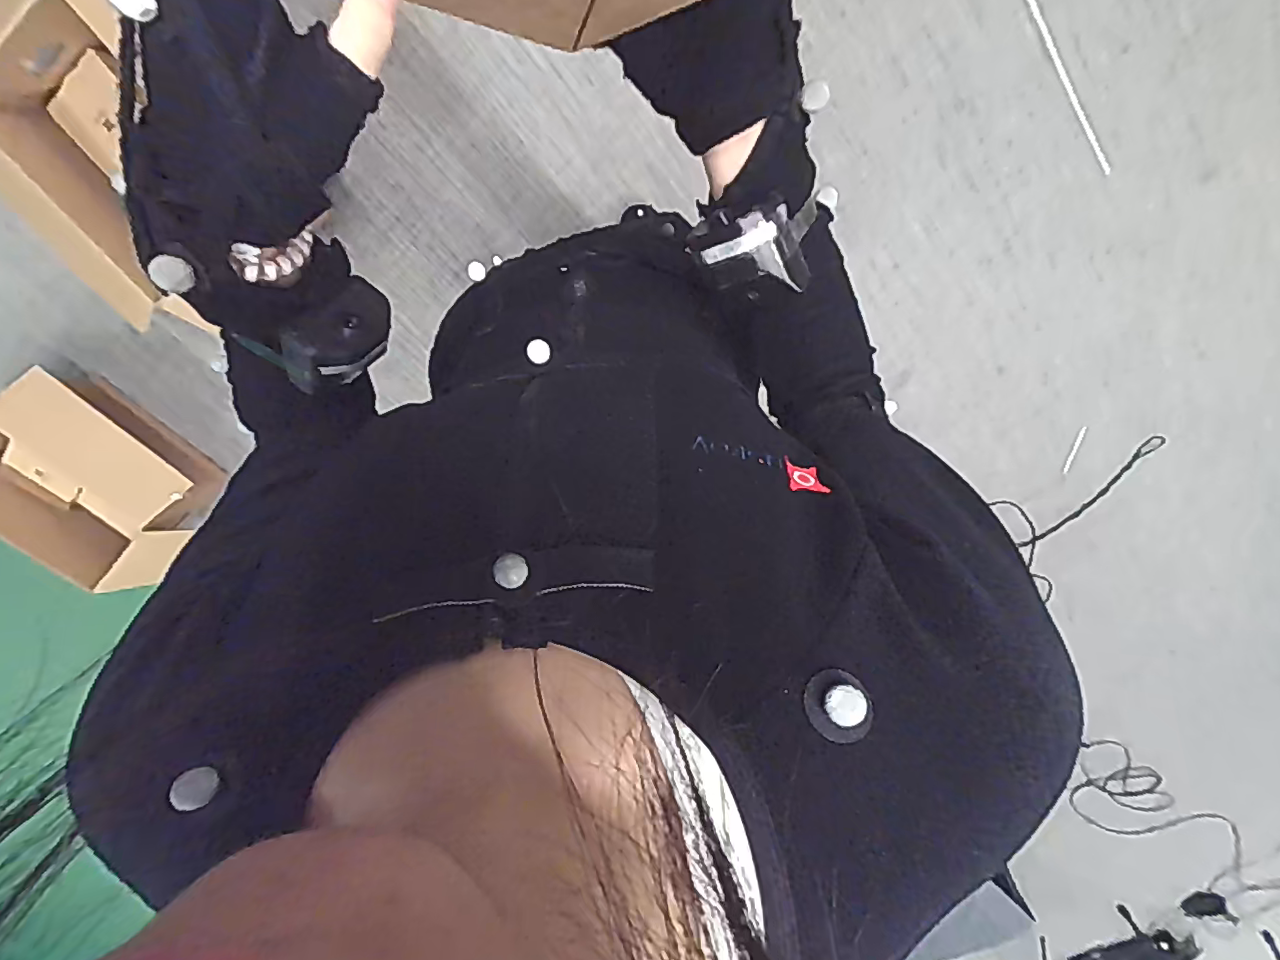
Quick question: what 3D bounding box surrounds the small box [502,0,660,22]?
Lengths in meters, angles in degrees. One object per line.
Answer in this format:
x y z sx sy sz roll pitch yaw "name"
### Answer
-0.030 -0.275 0.162 0.179 0.168 0.176 19 120 40 "small box"
